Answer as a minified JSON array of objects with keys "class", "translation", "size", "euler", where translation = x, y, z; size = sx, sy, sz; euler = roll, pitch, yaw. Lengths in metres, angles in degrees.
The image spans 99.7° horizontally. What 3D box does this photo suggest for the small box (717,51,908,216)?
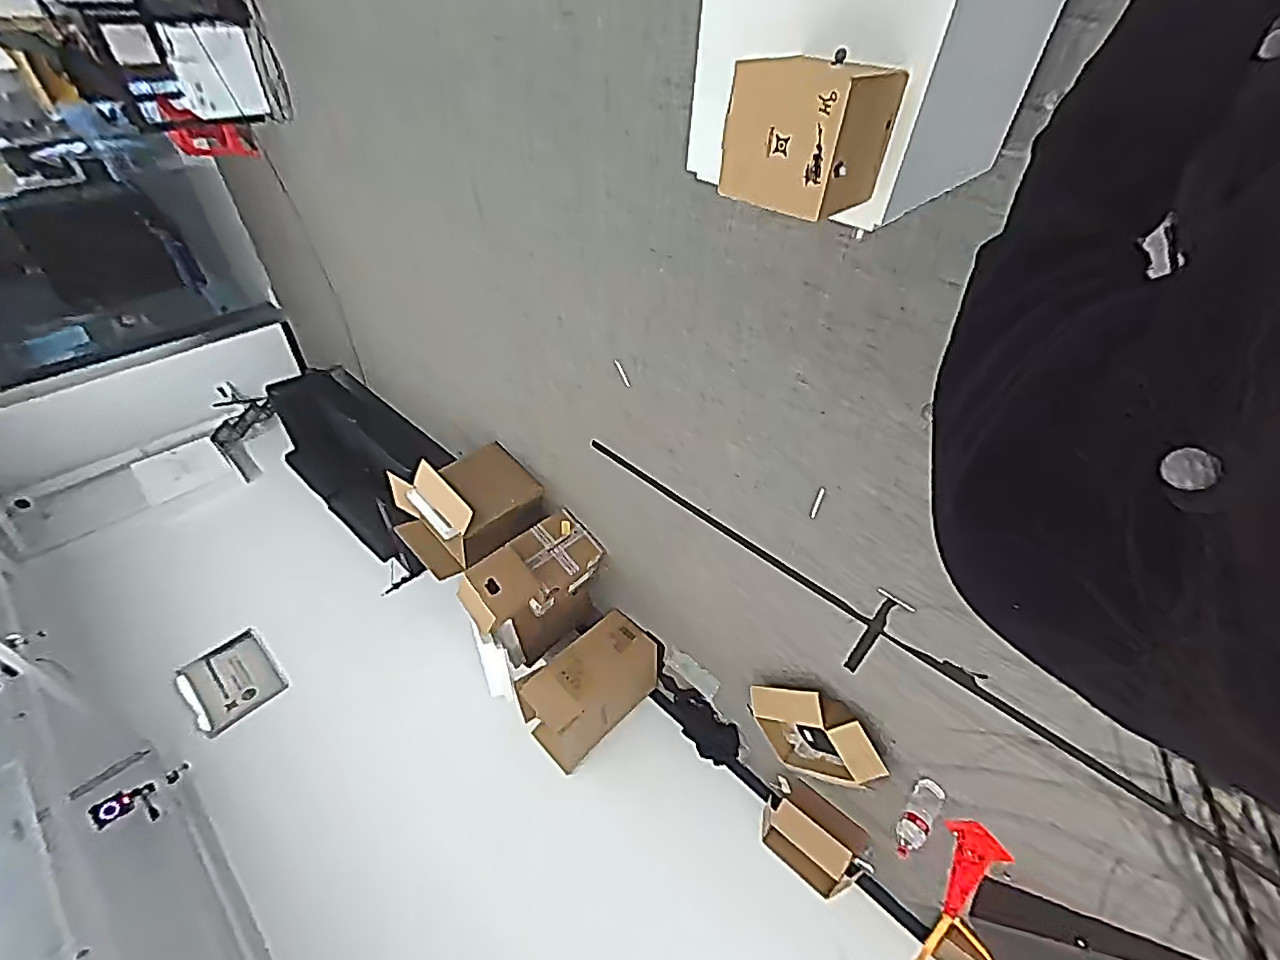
[{"class":"small box","translation":[0.239,-0.498,0.770],"size":[0.179,0.176,0.168],"euler":[35,141,29]}]
